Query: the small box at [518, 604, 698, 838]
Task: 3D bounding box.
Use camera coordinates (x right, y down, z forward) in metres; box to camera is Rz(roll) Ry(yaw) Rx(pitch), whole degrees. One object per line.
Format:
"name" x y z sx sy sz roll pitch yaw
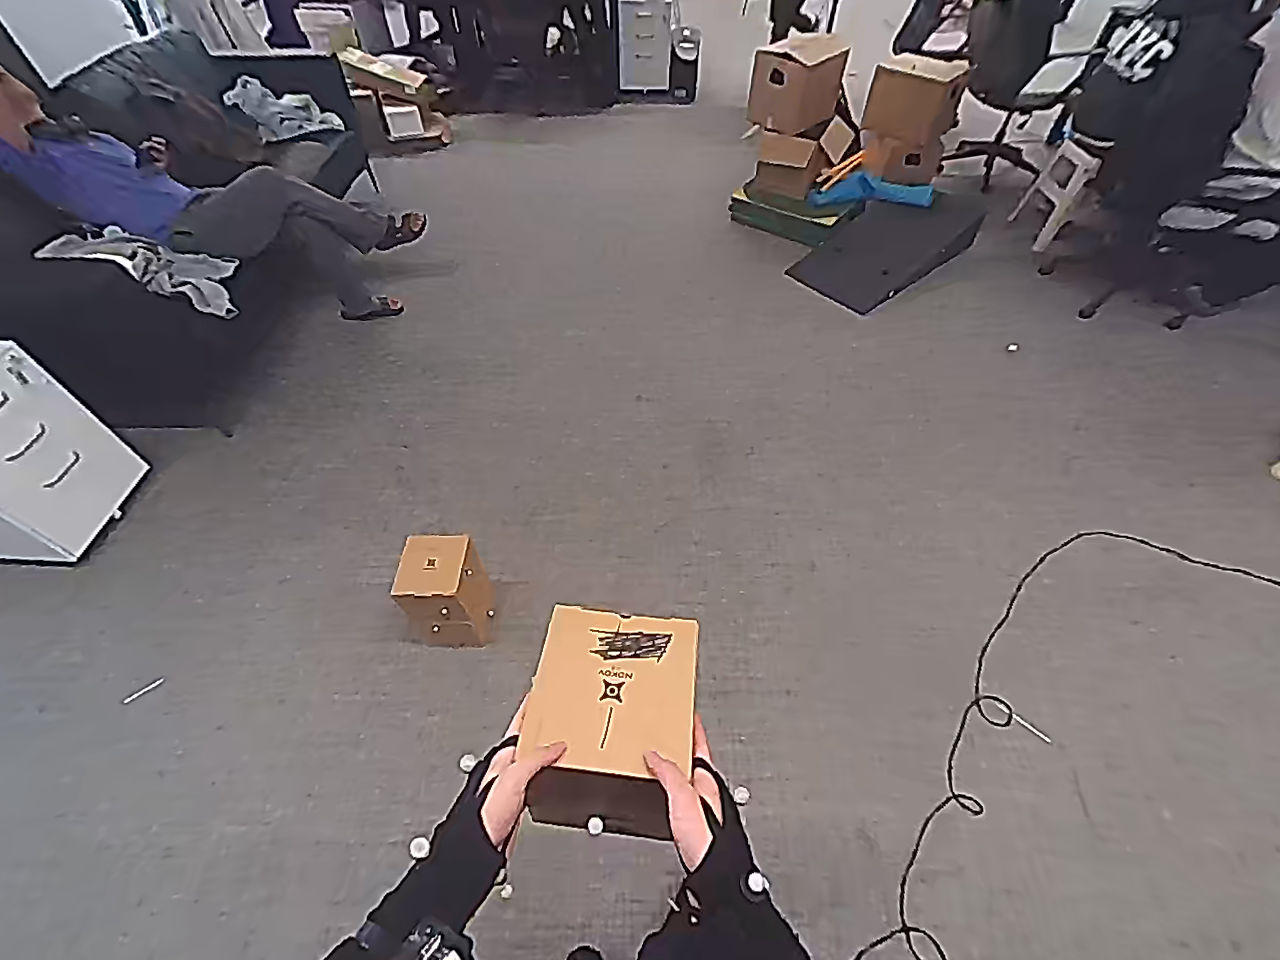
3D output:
"small box" -0.027 0.269 0.609 0.168 0.176 0.179 5 41 4

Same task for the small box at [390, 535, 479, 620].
"small box" -0.541 0.266 1.453 0.168 0.176 0.179 0 50 -1

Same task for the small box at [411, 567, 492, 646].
"small box" -0.540 0.367 1.580 0.168 0.176 0.179 1 51 1
